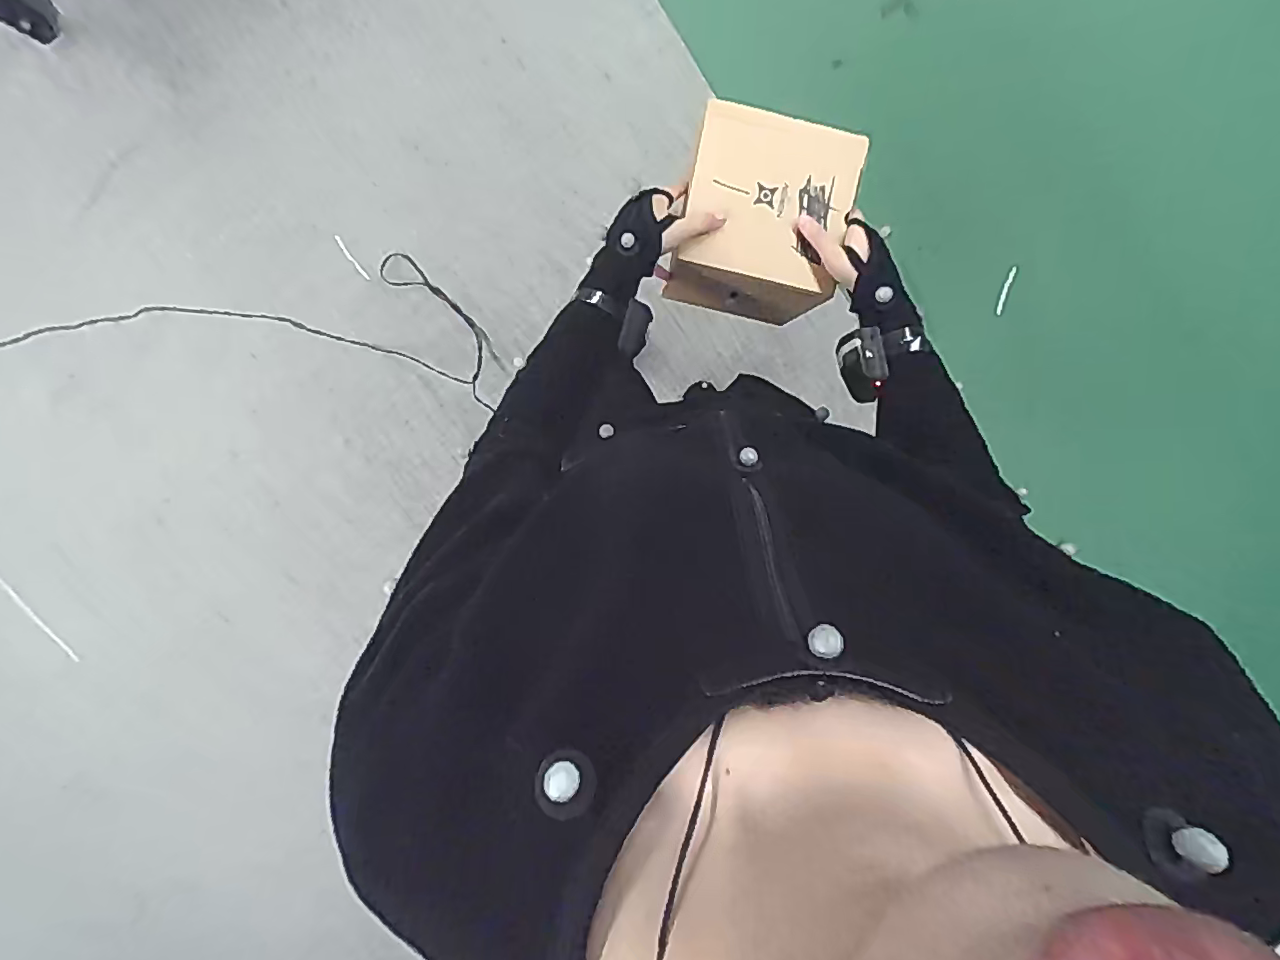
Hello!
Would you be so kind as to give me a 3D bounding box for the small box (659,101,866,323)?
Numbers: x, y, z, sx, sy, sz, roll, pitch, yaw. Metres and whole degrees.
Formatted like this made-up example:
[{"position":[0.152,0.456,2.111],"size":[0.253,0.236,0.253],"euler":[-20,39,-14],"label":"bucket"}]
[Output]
[{"position":[0.128,-0.294,0.636],"size":[0.179,0.176,0.168],"euler":[12,94,-4],"label":"small box"}]
